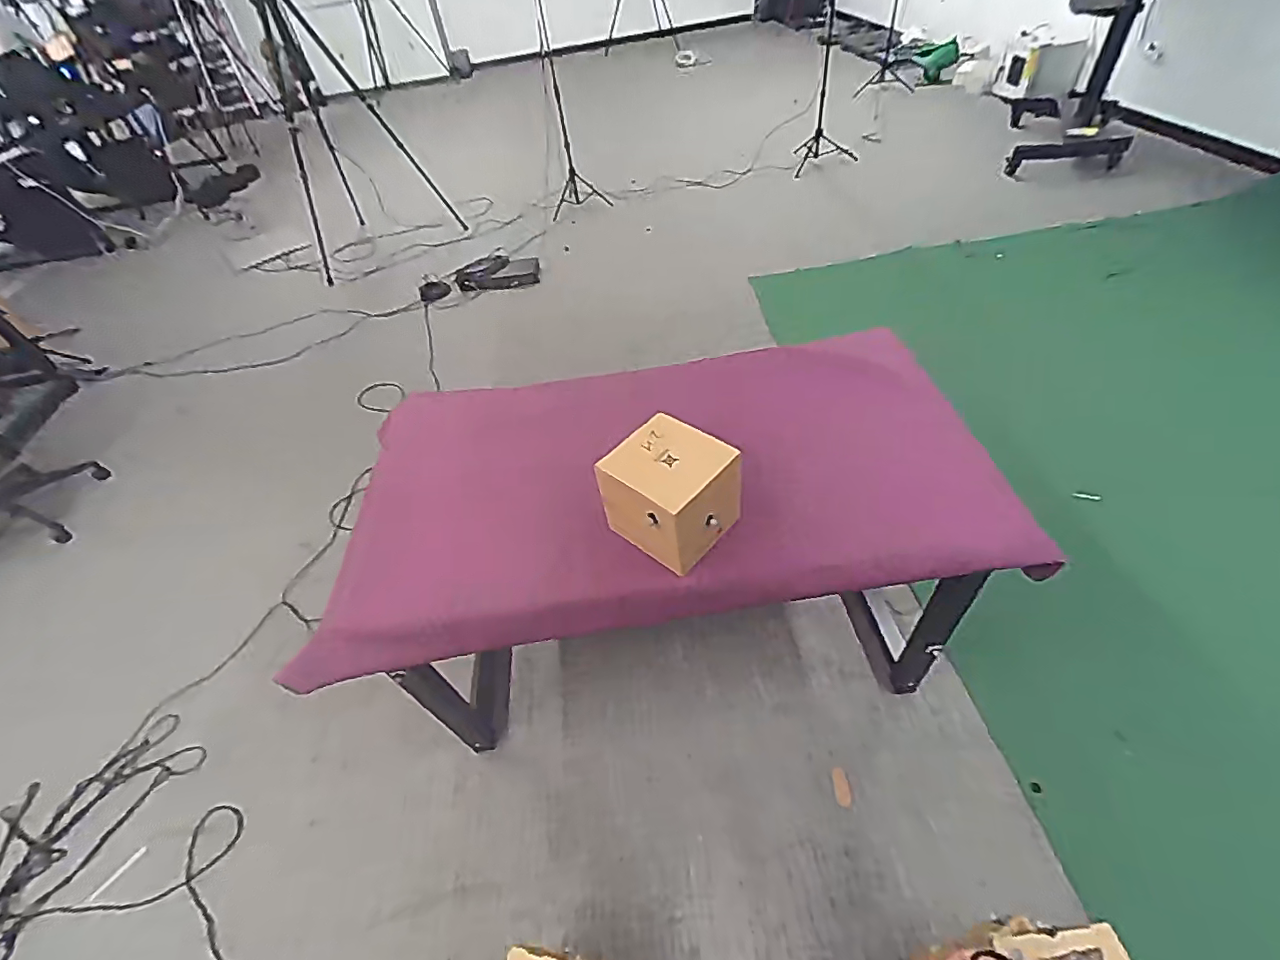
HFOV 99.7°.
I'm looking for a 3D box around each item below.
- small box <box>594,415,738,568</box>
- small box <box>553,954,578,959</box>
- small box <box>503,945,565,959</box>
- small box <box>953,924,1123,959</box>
[{"bbox_3d":[0.050,0.024,0.923,0.179,0.176,0.168,31,58,32],"label":"small box"},{"bbox_3d":[-0.133,1.027,1.026,0.168,0.176,0.179,2,49,11],"label":"small box"},{"bbox_3d":[-0.160,0.921,0.907,0.168,0.176,0.179,6,48,16],"label":"small box"},{"bbox_3d":[0.567,0.732,0.740,0.168,0.176,0.179,-7,48,1],"label":"small box"}]
